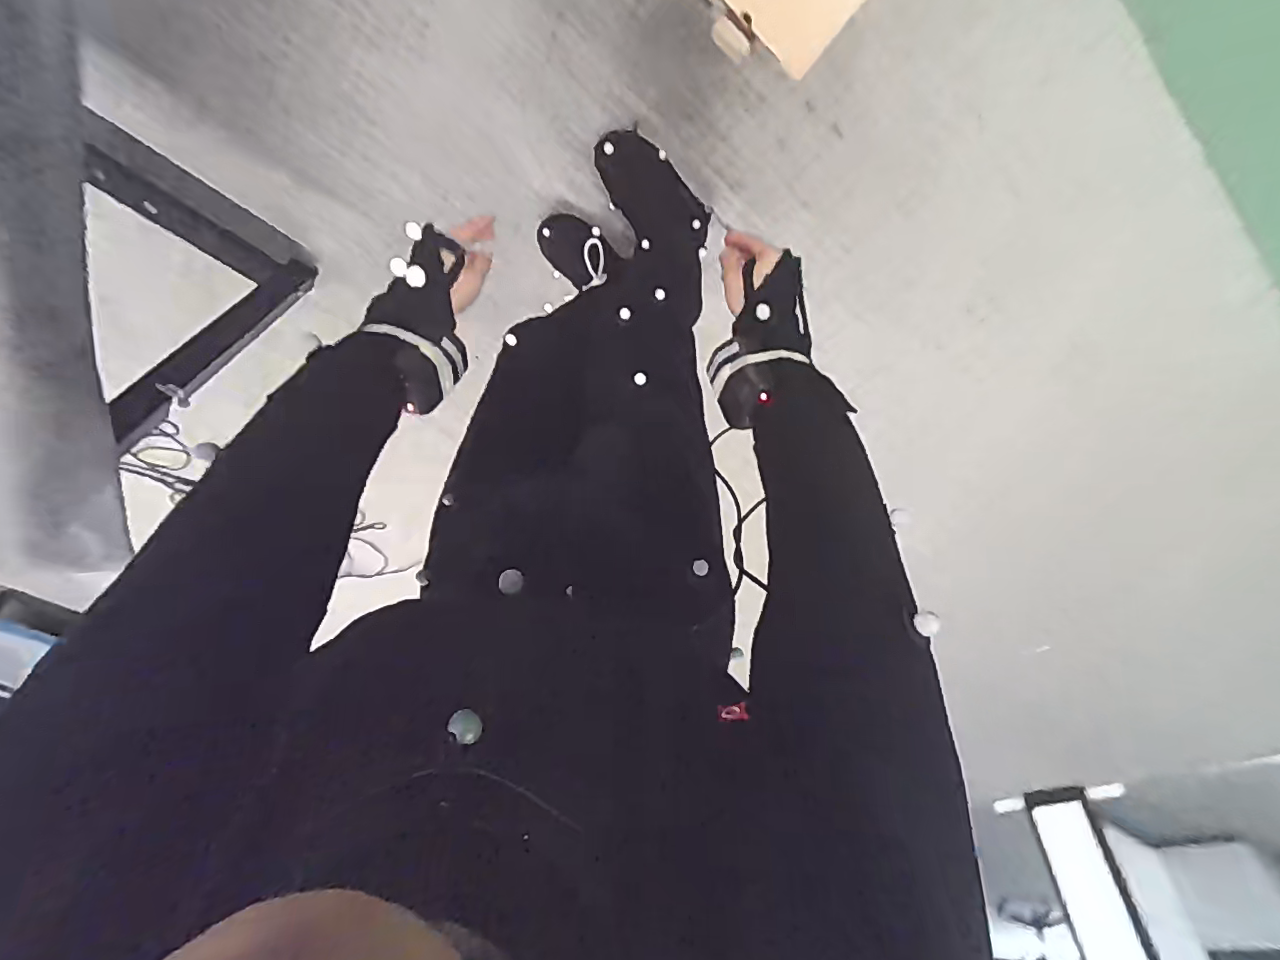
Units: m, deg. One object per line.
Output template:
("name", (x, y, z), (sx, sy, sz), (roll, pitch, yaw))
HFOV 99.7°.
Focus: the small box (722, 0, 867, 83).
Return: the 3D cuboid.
("small box", (0.166, -0.570, 0.561), (0.168, 0.176, 0.179), (31, 131, -22))
